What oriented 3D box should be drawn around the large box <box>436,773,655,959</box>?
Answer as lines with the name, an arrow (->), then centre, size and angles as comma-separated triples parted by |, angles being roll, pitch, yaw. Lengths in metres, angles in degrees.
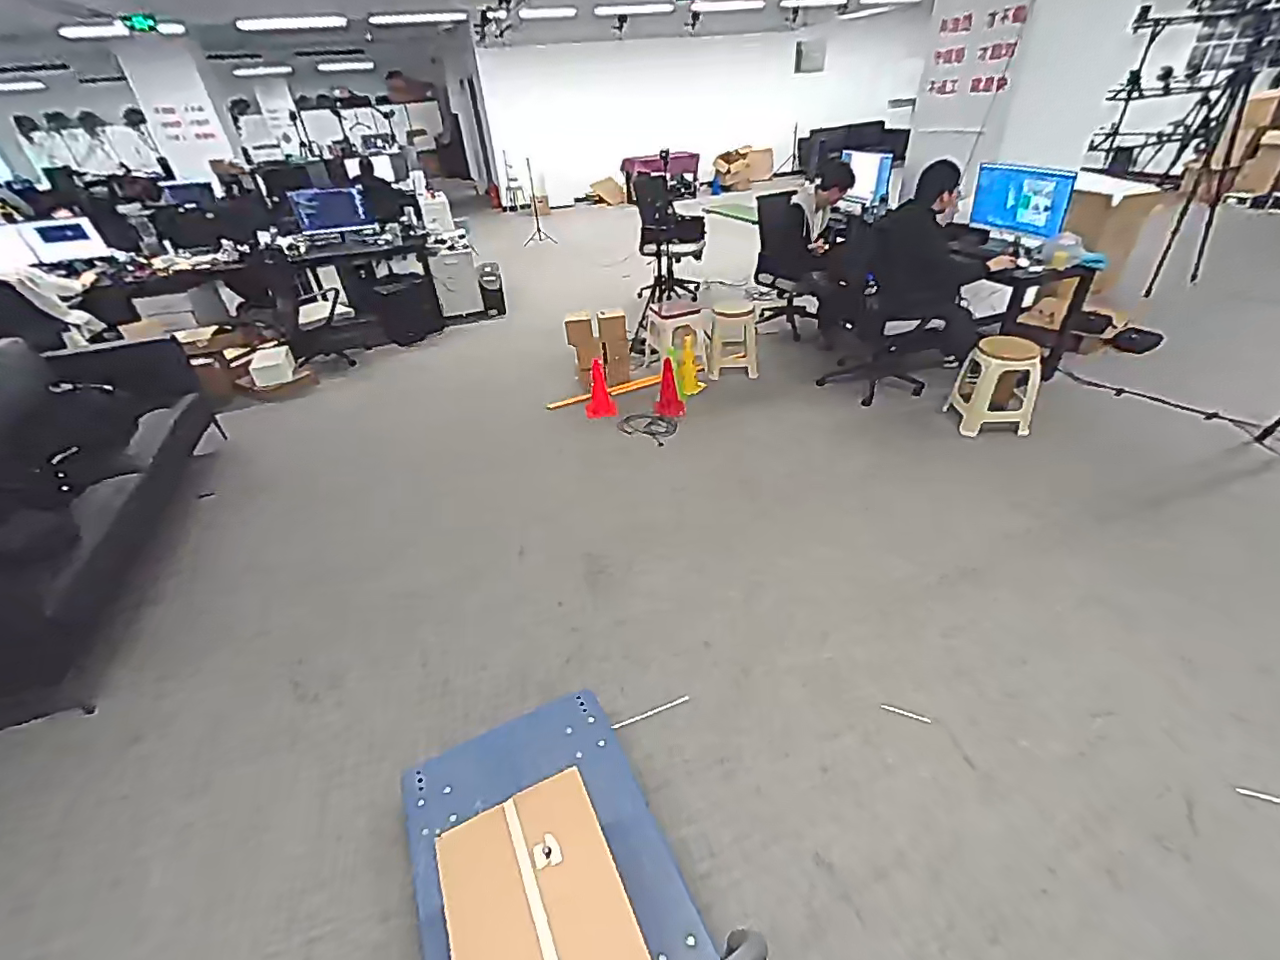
large box -> -0.175, 0.906, 1.075 | 0.320, 0.320, 0.408 | -19, 36, -19
